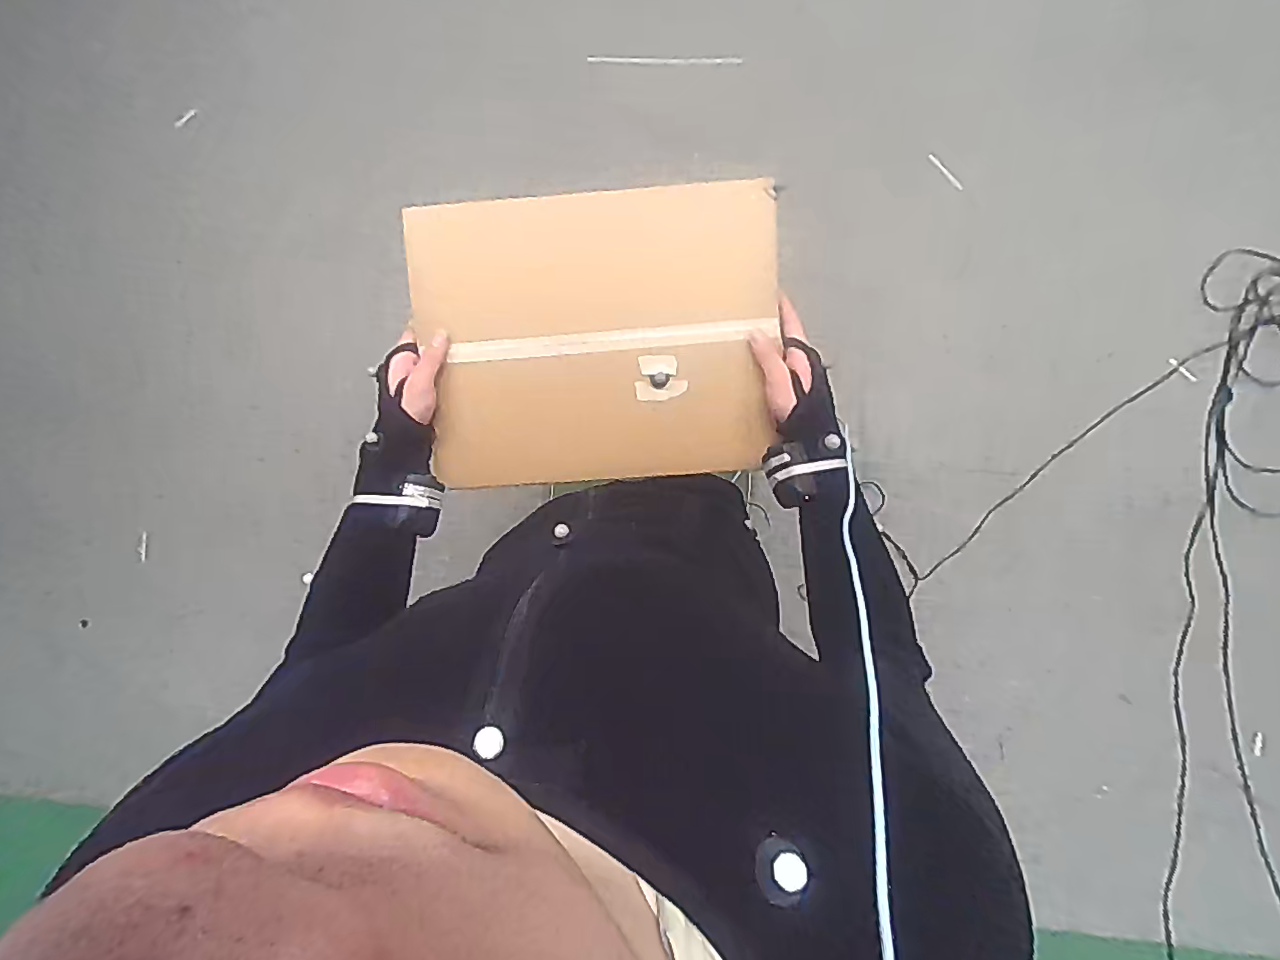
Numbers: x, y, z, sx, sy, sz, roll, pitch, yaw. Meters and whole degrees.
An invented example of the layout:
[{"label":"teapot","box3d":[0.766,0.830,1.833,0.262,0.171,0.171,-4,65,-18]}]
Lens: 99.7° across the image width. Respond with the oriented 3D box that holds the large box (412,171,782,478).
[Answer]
[{"label":"large box","box3d":[-0.044,-0.189,0.759,0.408,0.320,0.320,-4,99,1]}]
